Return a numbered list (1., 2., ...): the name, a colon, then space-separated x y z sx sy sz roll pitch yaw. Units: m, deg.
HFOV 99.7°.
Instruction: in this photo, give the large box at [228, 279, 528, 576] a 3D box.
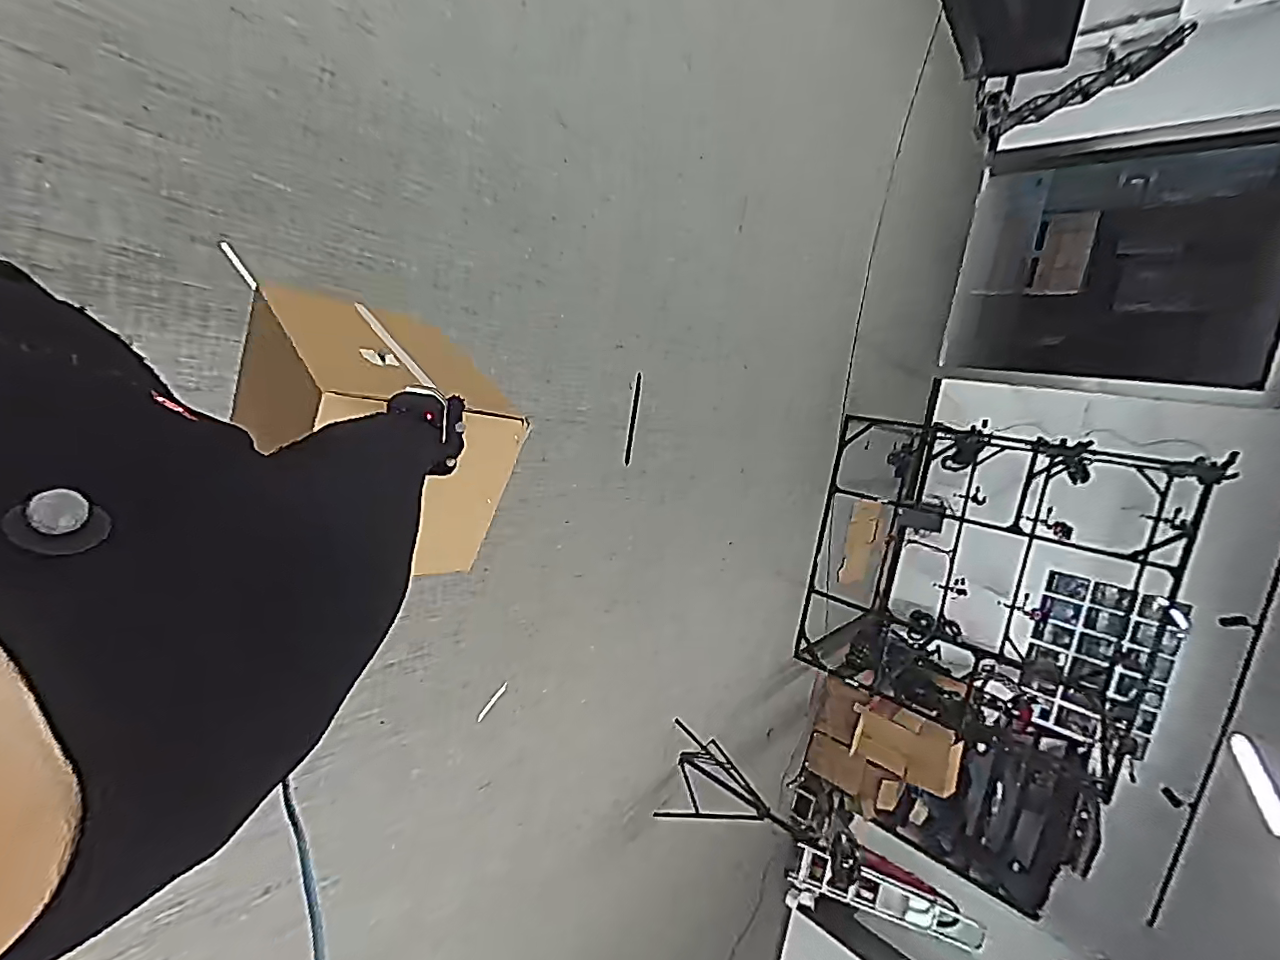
1. large box: -0.471 -0.089 0.944 0.320 0.408 0.320 3 123 -48
